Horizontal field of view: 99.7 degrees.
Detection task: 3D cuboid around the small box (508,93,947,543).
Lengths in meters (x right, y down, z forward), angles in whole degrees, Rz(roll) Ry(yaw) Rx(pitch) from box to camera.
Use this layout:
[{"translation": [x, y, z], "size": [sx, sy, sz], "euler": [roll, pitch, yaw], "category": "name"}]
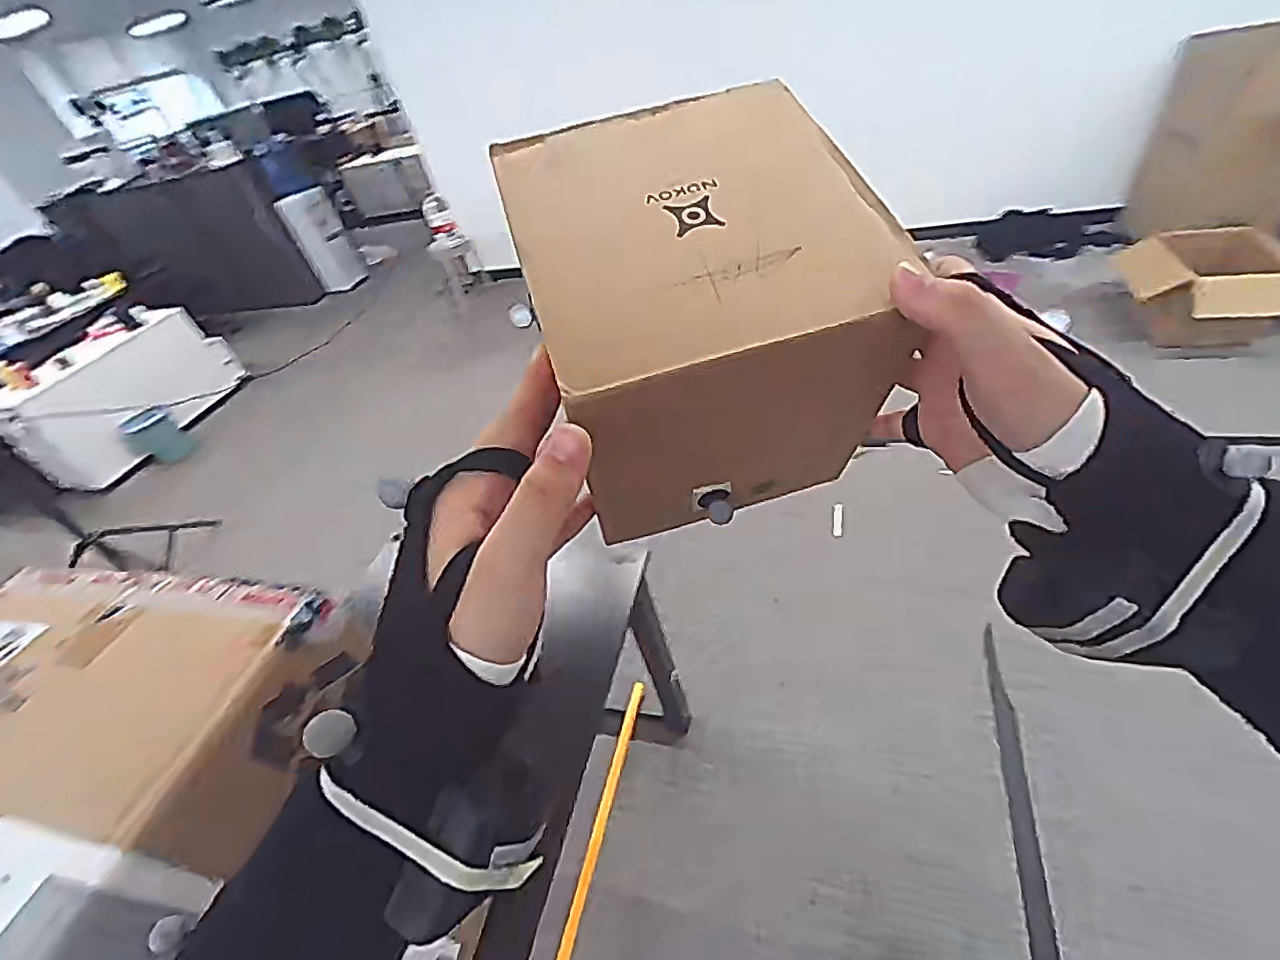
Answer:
[{"translation": [0.033, -0.085, 0.329], "size": [0.168, 0.176, 0.179], "euler": [-17, 64, -4], "category": "small box"}]
